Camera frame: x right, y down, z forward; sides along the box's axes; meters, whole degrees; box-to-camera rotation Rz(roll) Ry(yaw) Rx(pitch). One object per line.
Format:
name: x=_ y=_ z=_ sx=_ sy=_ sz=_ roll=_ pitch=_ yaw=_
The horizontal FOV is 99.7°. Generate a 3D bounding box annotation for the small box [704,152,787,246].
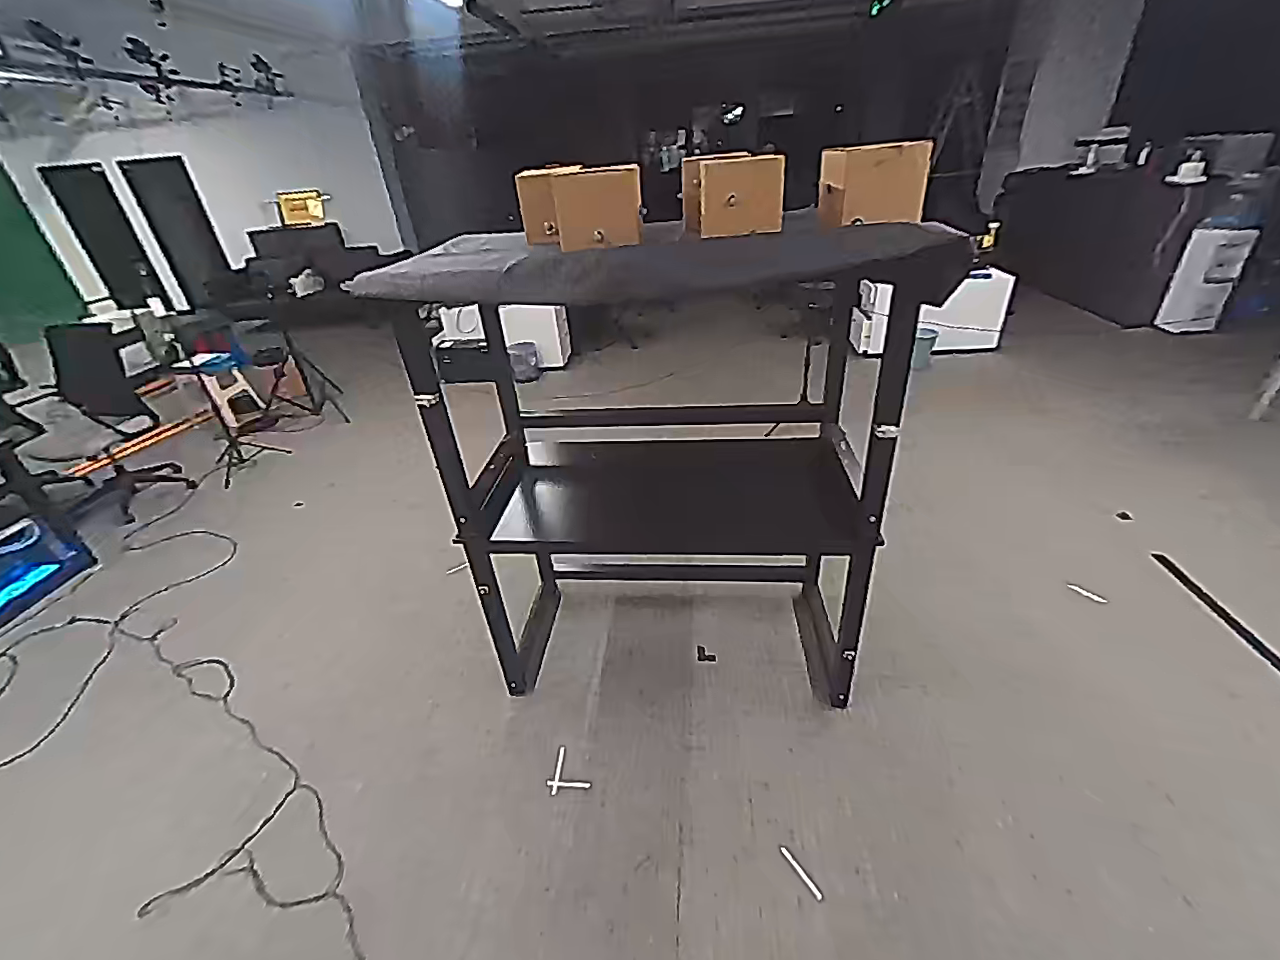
small box: x=0.229 y=-0.622 z=1.203 sx=0.168 sy=0.176 sz=0.179 roll=-2 pitch=31 yaw=5

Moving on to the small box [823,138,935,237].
small box: x=0.501 y=-0.625 z=1.161 sx=0.168 sy=0.176 sz=0.179 roll=-4 pitch=30 yaw=3

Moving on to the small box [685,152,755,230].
small box: x=0.214 y=-0.773 z=1.448 sx=0.179 sy=0.176 sz=0.168 roll=-1 pitch=33 yaw=7

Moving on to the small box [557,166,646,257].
small box: x=-0.079 y=-0.614 z=1.236 sx=0.179 sy=0.176 sz=0.168 roll=-1 pitch=31 yaw=6

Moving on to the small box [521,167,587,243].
small box: x=-0.218 y=-0.755 z=1.484 sx=0.168 sy=0.176 sz=0.179 roll=-5 pitch=32 yaw=2
